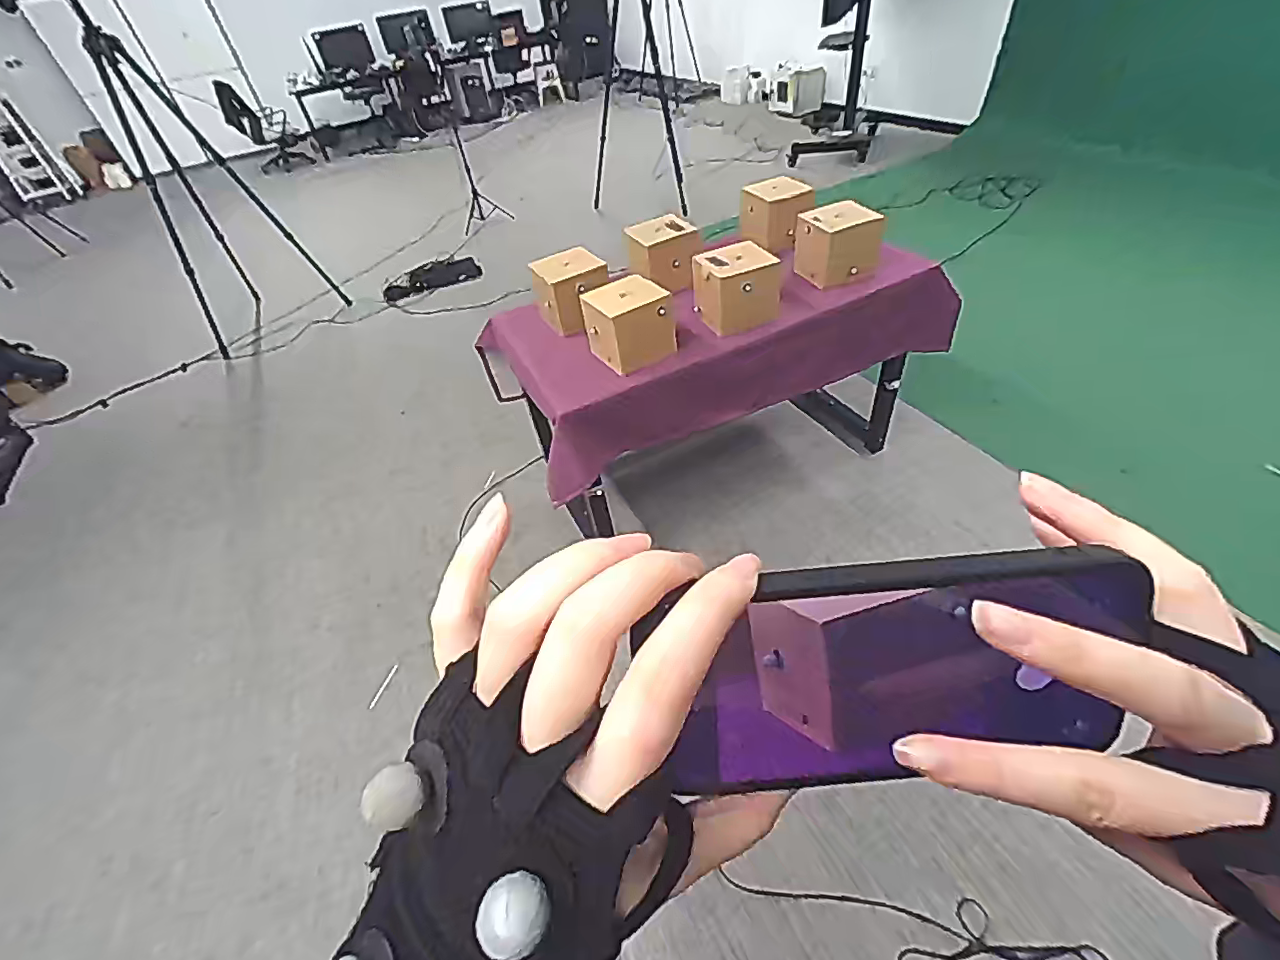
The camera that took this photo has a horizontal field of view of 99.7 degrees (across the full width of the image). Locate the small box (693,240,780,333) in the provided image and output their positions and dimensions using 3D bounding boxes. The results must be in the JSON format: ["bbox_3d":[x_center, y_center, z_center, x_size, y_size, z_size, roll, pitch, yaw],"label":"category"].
[{"bbox_3d":[0.257,-0.518,1.457,0.179,0.176,0.168,-19,45,-11],"label":"small box"}]

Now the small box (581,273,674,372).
[{"bbox_3d":[-0.027,-0.402,1.391,0.179,0.176,0.168,-28,47,-19],"label":"small box"}]

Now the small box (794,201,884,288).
[{"bbox_3d":[0.569,-0.684,1.571,0.179,0.176,0.168,-19,45,-10],"label":"small box"}]

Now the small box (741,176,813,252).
[{"bbox_3d":[0.443,-0.877,1.784,0.168,0.176,0.179,-22,47,-11],"label":"small box"}]
